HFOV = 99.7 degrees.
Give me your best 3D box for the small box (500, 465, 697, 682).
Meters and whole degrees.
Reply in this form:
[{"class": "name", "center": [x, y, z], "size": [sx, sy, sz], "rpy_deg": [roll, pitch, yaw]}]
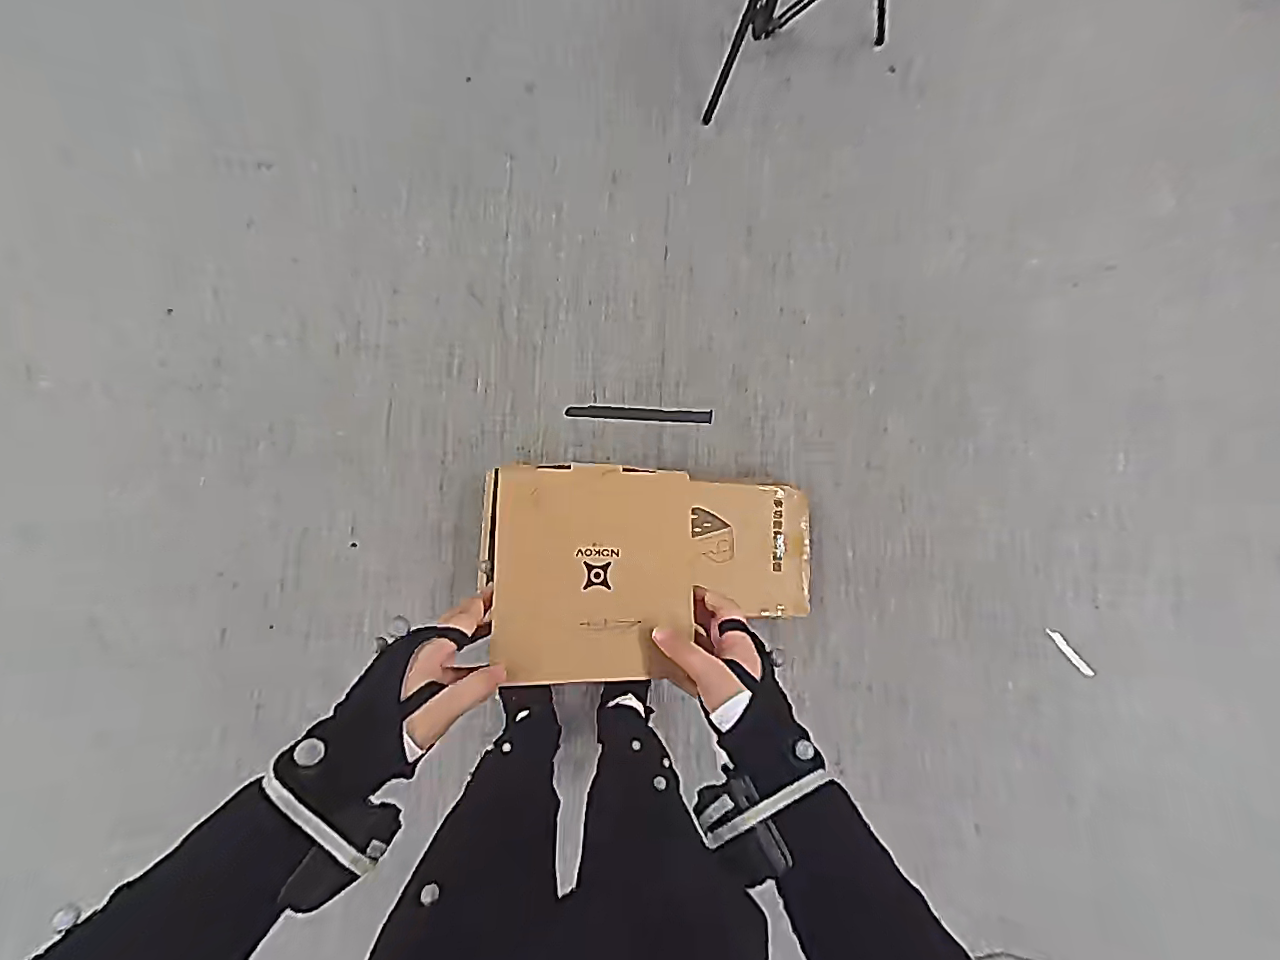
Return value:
[{"class": "small box", "center": [-0.050, 0.090, 0.530], "size": [0.168, 0.176, 0.179], "rpy_deg": [1, 80, -12]}]
